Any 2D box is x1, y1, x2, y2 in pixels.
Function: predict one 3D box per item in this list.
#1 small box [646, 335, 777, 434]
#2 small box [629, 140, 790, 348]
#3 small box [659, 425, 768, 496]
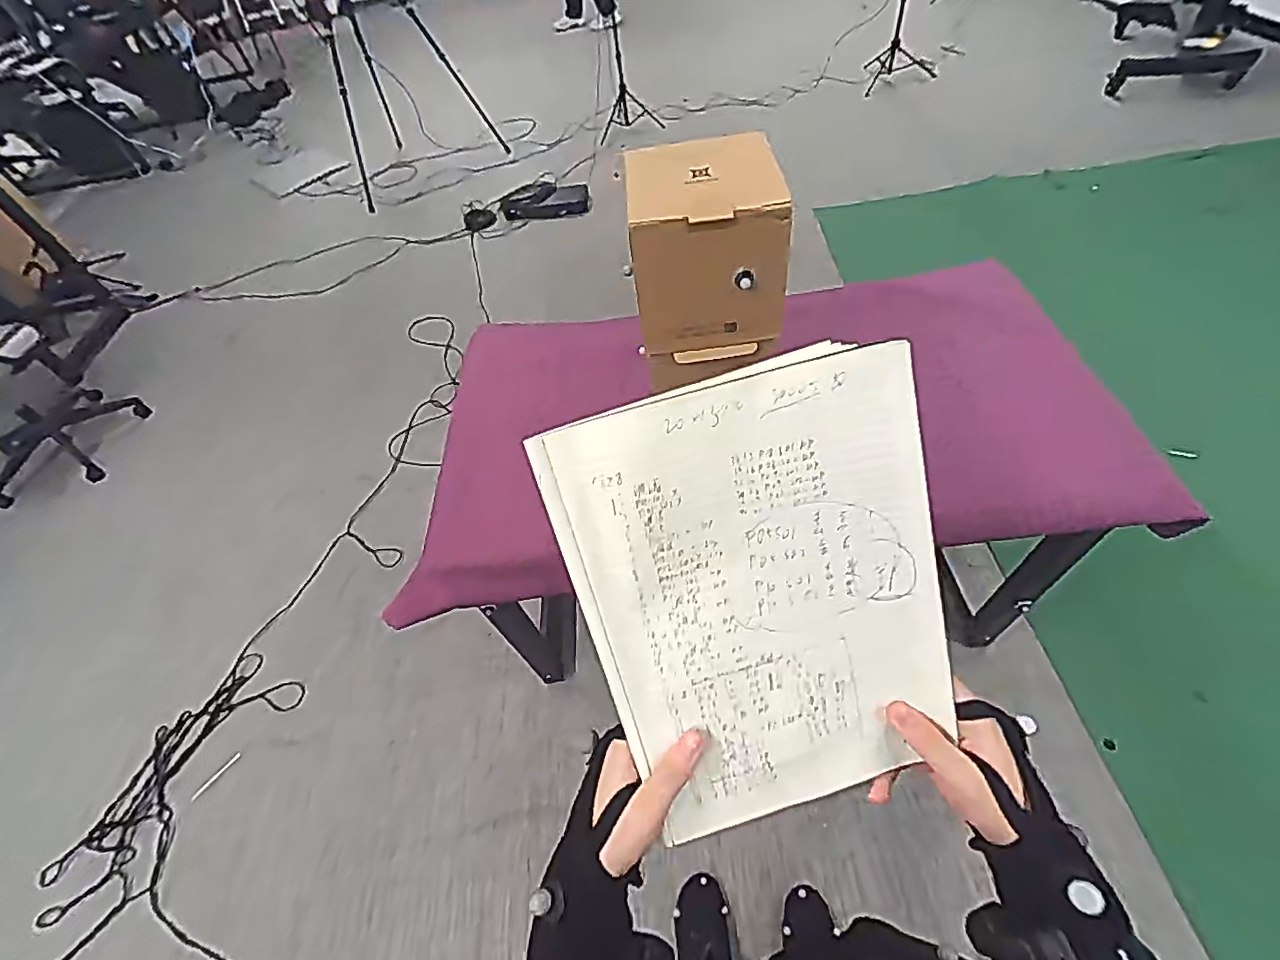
[{"bbox_3d":[0.099,-0.180,0.783,0.168,0.176,0.179,-6,51,5],"label":"small box"},{"bbox_3d":[0.079,-0.274,0.652,0.168,0.176,0.179,-5,52,4],"label":"small box"},{"bbox_3d":[0.119,-0.086,0.917,0.168,0.176,0.179,-6,53,4],"label":"small box"}]
